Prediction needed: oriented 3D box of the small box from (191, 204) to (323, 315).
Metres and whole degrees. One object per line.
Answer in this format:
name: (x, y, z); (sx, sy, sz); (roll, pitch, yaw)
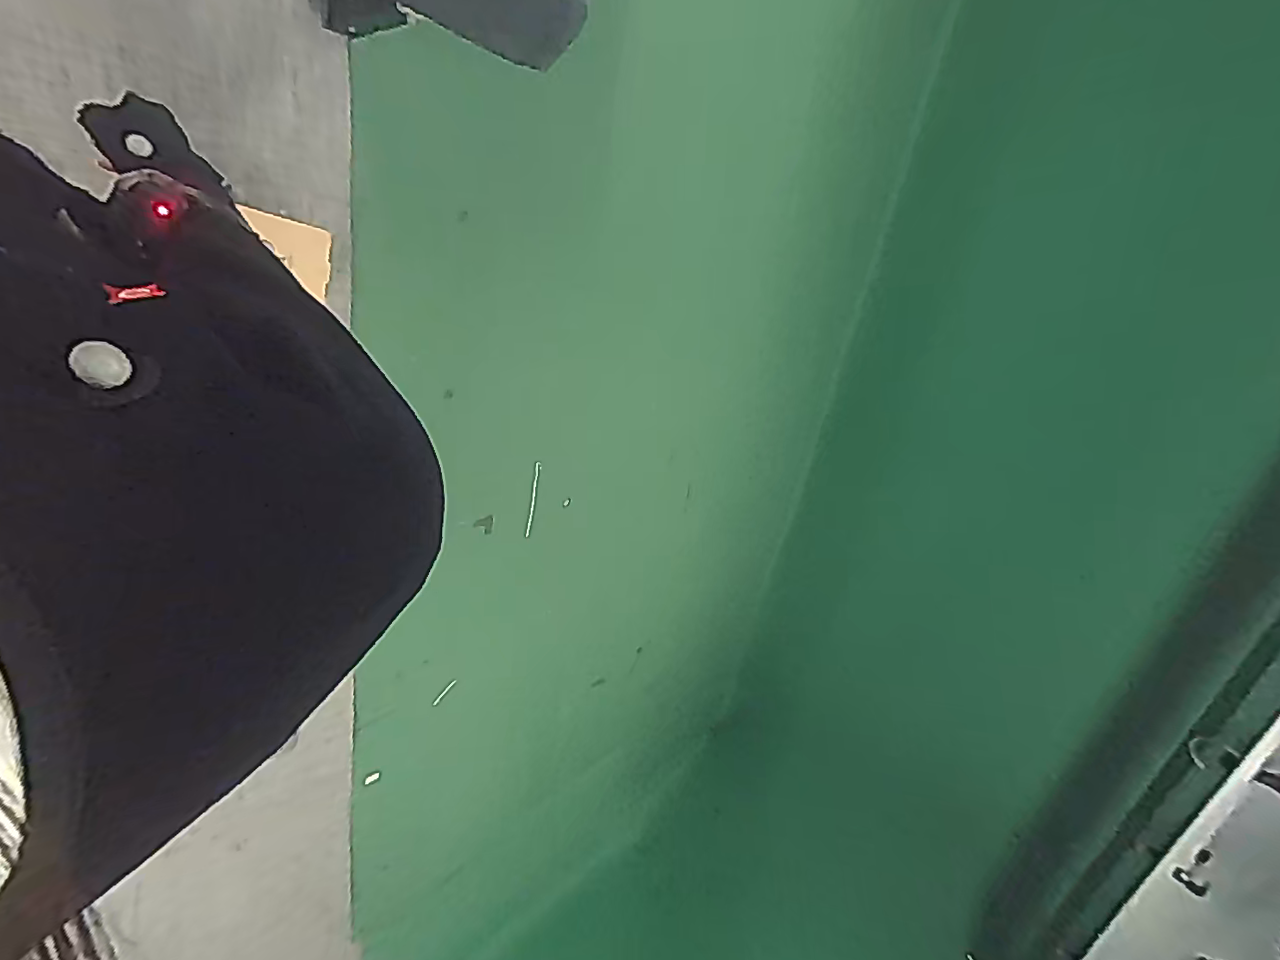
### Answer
small box: (-0.784, -0.452, 1.107); (0.179, 0.176, 0.168); (-3, 113, -50)
